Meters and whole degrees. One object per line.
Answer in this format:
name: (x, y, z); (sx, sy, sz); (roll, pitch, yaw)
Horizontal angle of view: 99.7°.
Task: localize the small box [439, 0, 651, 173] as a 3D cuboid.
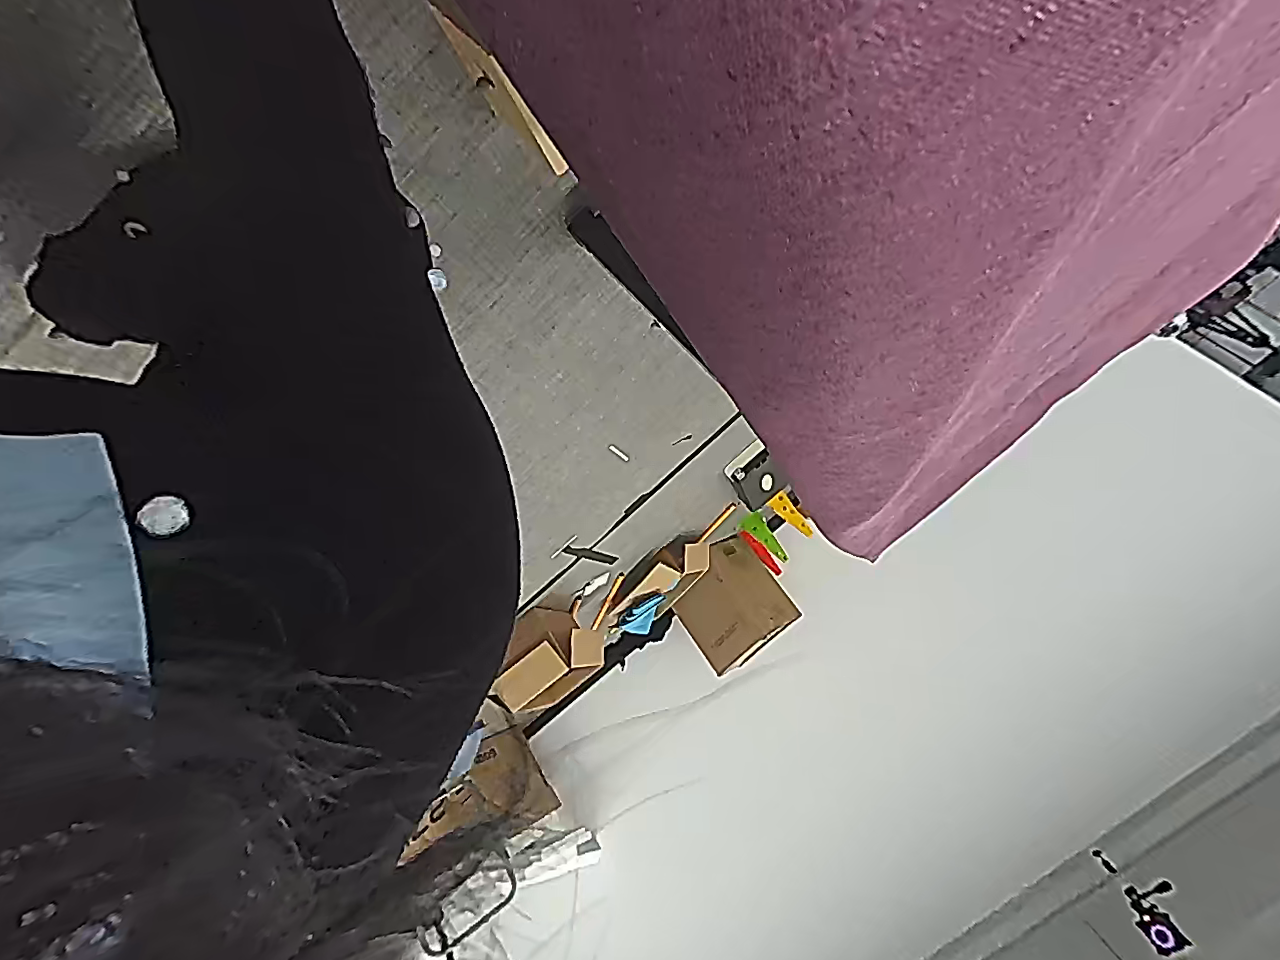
small box: (-0.120, -0.539, 0.670); (0.179, 0.176, 0.168); (-41, 157, 3)
